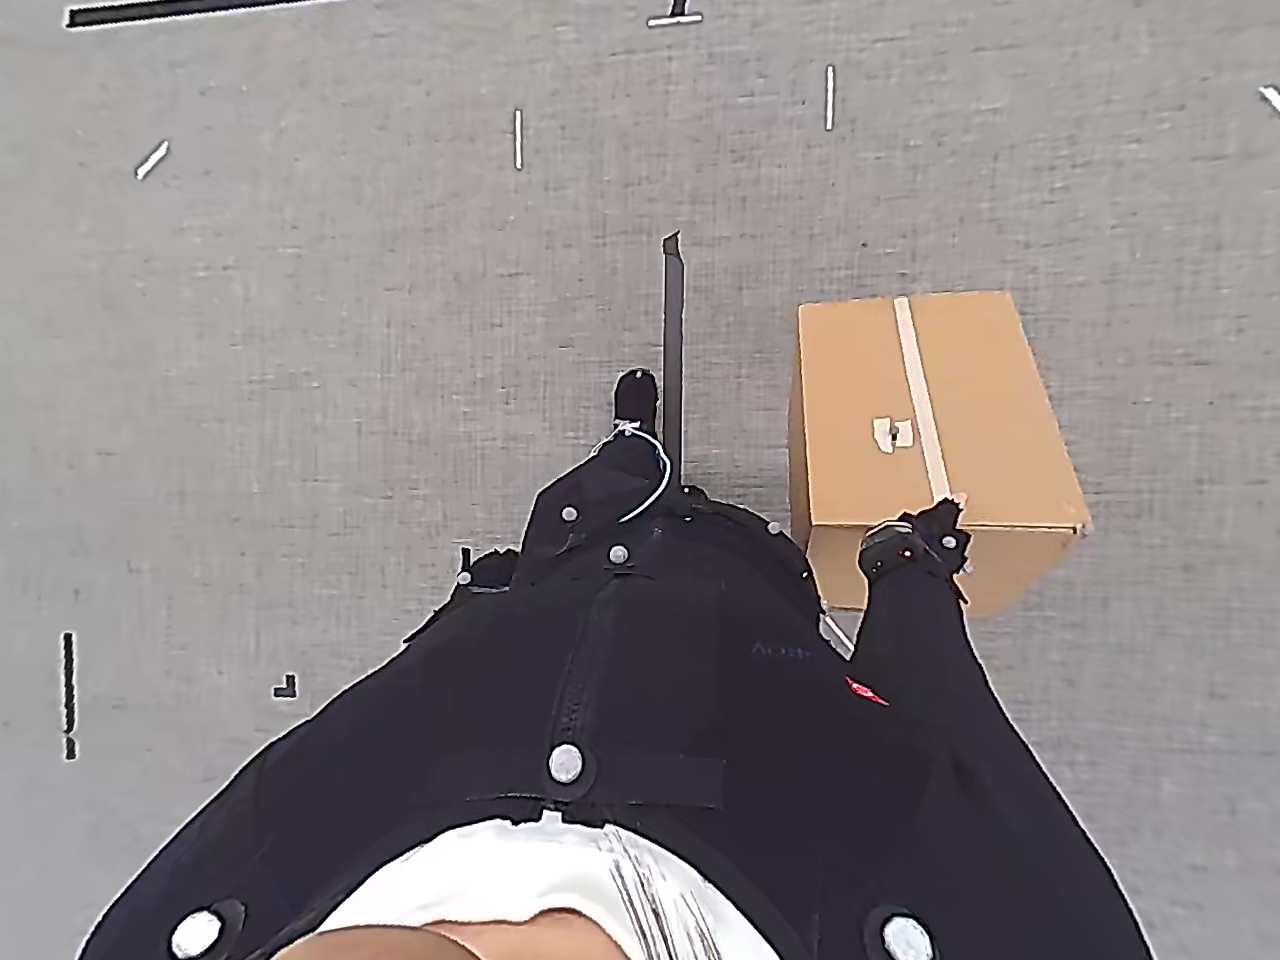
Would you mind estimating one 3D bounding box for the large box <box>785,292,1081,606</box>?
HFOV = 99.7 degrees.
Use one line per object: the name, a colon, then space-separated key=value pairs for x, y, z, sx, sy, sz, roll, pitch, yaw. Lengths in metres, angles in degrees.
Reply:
large box: x=0.408 y=-0.039 z=0.879 sx=0.320 sy=0.320 sz=0.408 roll=-1 pitch=60 yaw=14
